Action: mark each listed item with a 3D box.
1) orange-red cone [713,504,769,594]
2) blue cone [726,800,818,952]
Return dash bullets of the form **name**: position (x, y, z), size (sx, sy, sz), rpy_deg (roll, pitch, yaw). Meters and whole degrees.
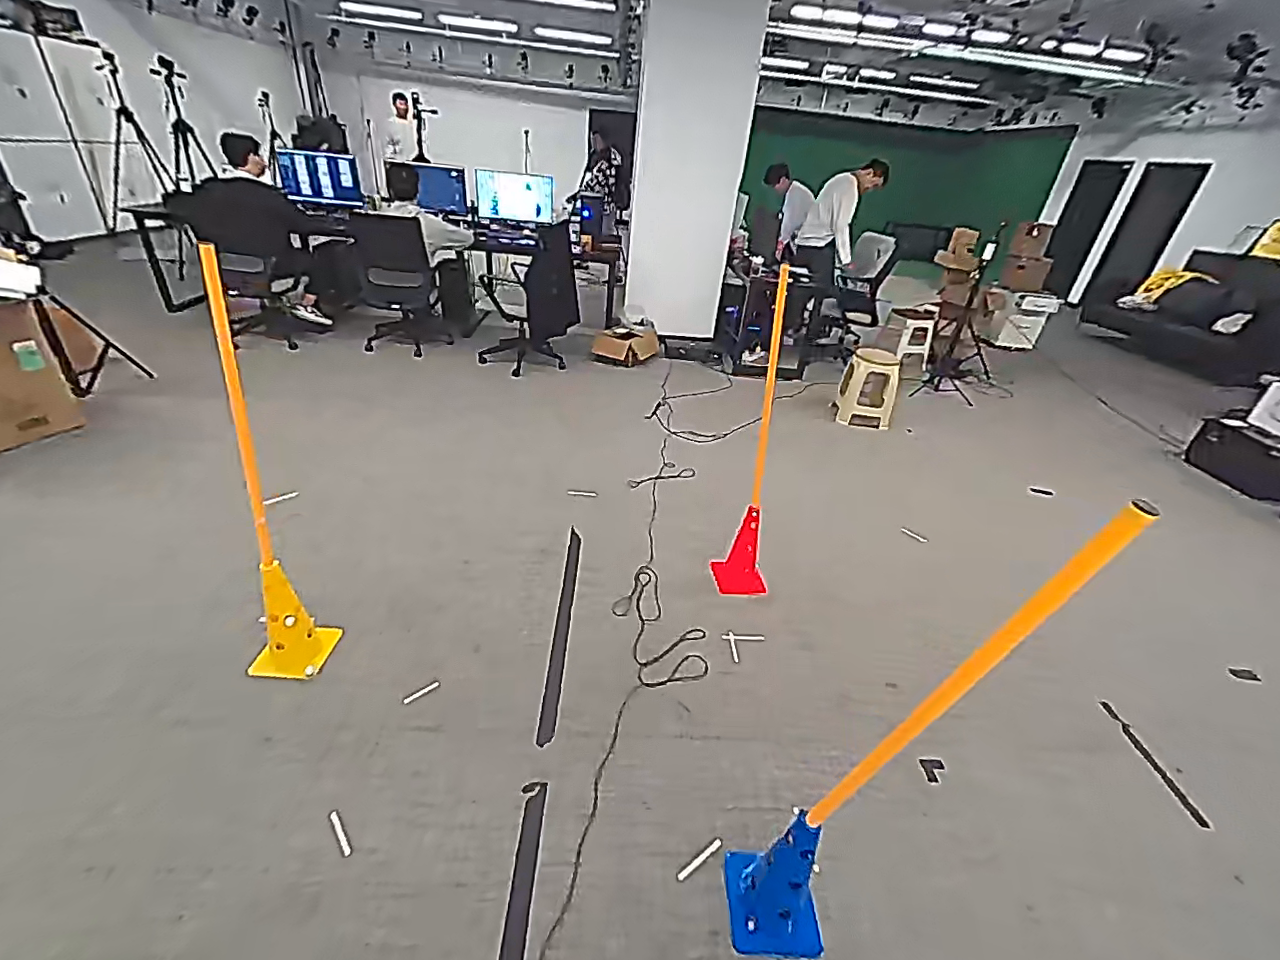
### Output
- **orange-red cone**: position (0.421, 0.250, 2.105), size (0.199, 0.360, 0.198), rpy_deg (0, 30, -7)
- **blue cone**: position (0.316, 0.818, 1.156), size (0.193, 0.380, 0.192), rpy_deg (6, 30, -1)
